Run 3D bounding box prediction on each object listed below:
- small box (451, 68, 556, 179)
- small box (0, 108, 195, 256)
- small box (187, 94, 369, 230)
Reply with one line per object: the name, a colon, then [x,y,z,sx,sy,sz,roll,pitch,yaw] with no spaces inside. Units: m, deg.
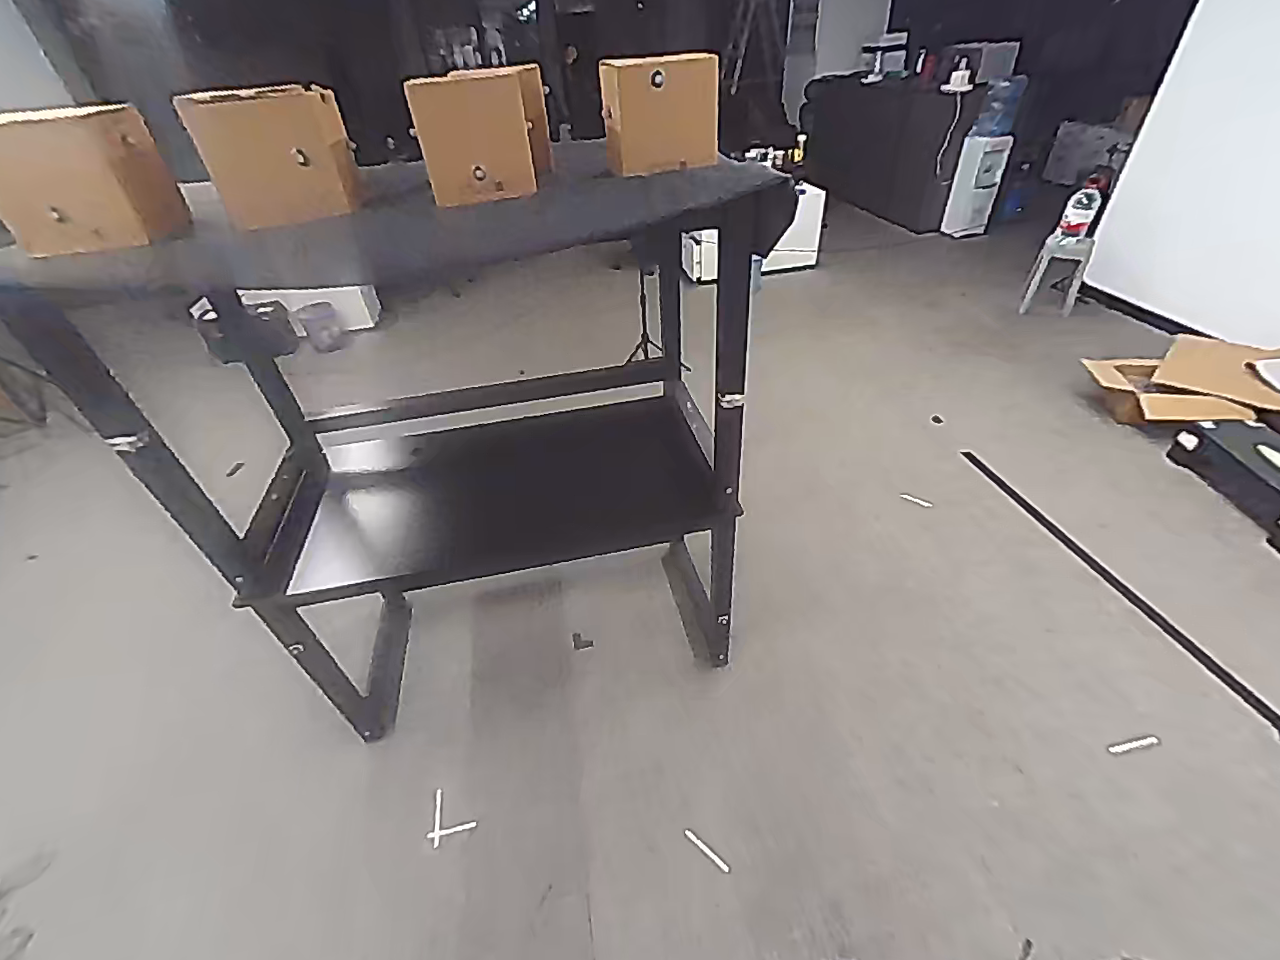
small box: [-0.266,-0.714,1.083,0.168,0.176,0.179,-10,39,-5]
small box: [-0.833,-0.455,0.826,0.168,0.176,0.179,-12,40,-9]
small box: [-0.559,-0.513,0.870,0.179,0.176,0.168,-10,37,-10]
